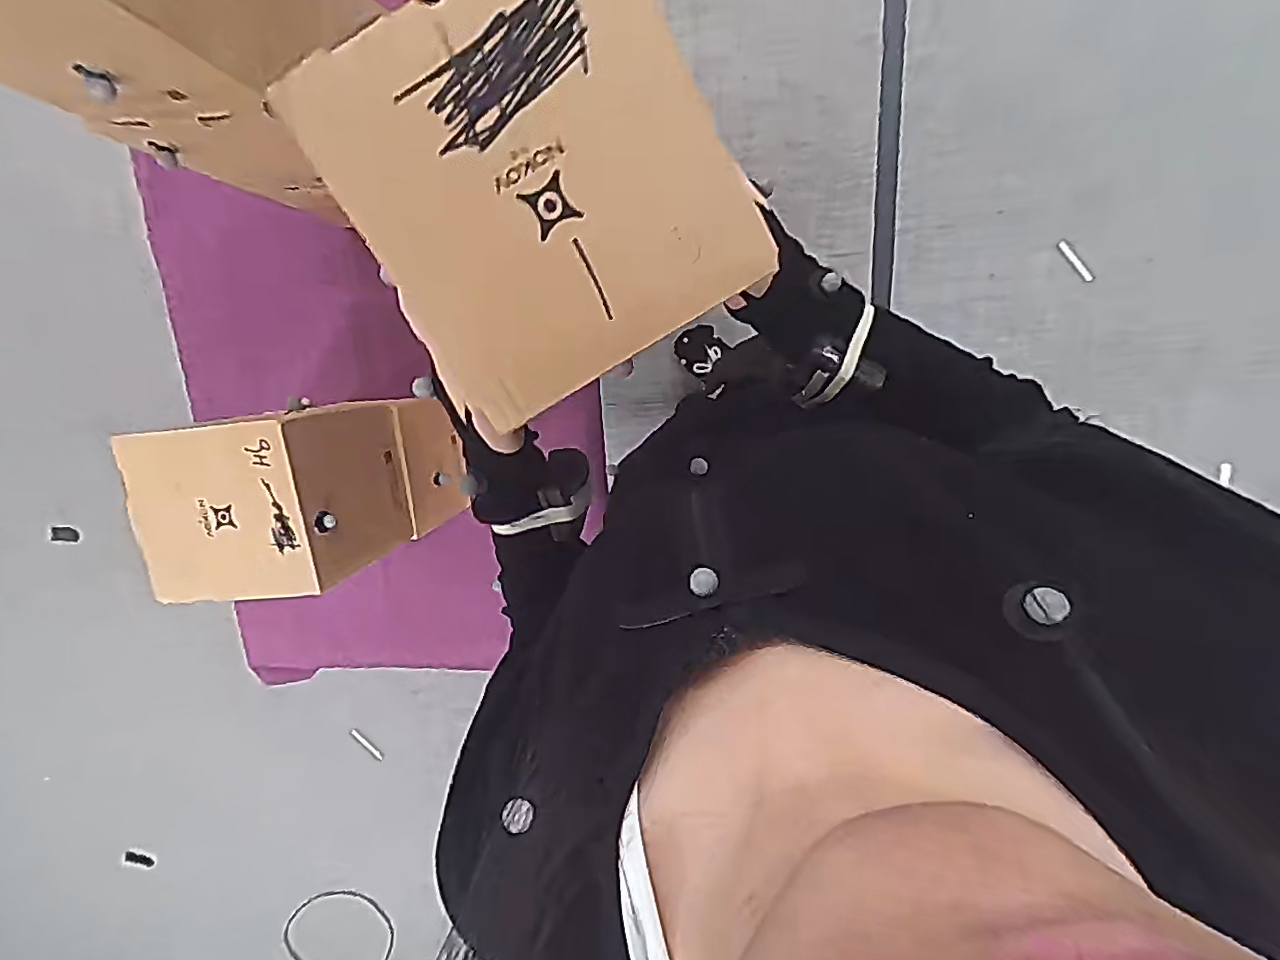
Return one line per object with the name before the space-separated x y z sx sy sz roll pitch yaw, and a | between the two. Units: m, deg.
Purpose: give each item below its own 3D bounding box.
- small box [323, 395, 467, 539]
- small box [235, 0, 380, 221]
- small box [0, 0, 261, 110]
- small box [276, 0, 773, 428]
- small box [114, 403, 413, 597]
small box | -0.348 -0.023 0.728 0.179 0.176 0.168 -3 102 8
small box | -0.338 -0.417 0.640 0.168 0.176 0.179 0 102 6
small box | -0.370 -0.356 0.318 0.168 0.176 0.179 -1 103 7
small box | -0.053 -0.155 0.324 0.168 0.176 0.179 -31 106 4
small box | -0.374 0.012 0.570 0.179 0.176 0.168 -4 102 8
